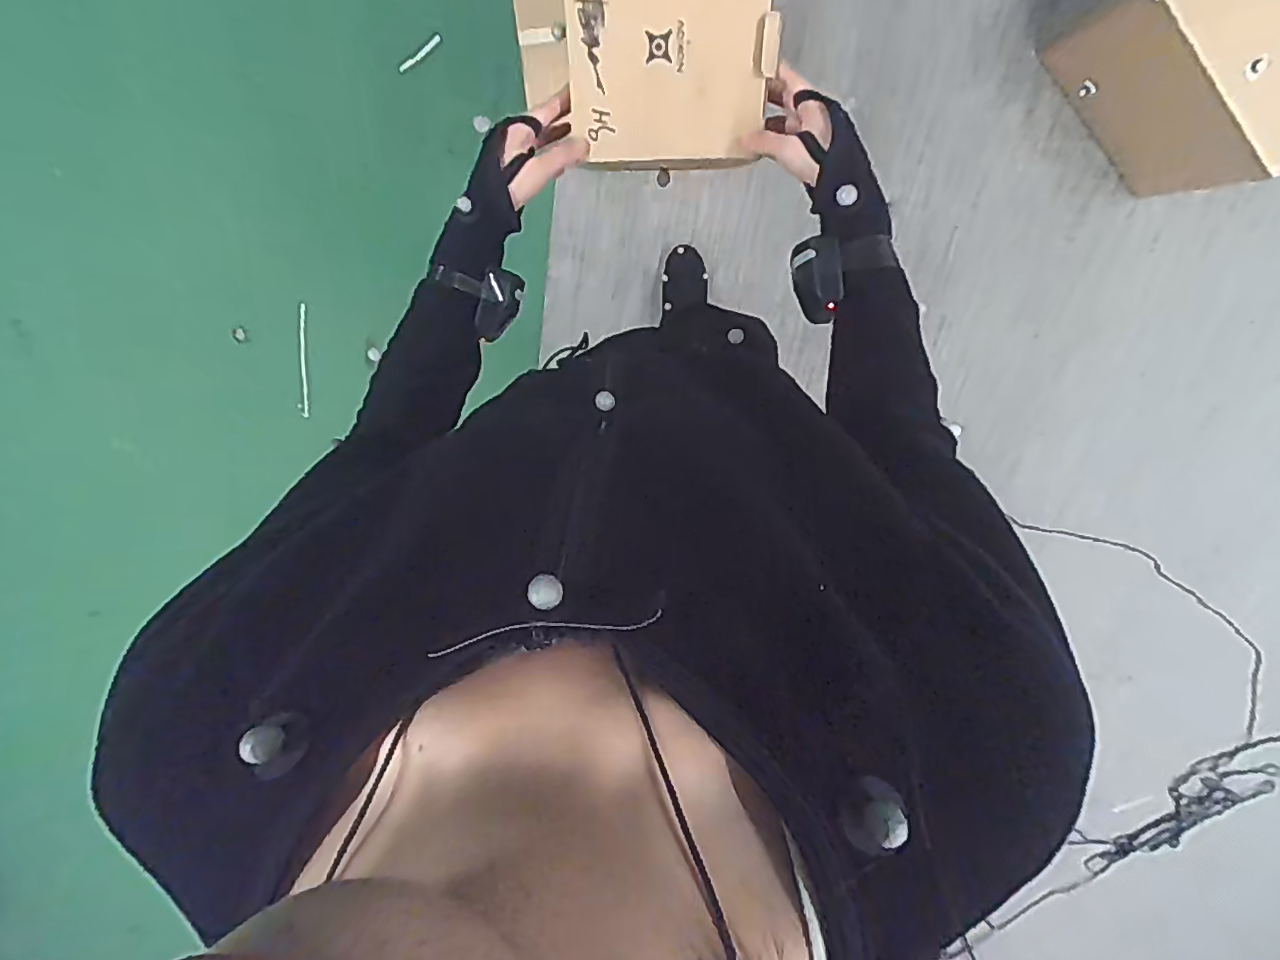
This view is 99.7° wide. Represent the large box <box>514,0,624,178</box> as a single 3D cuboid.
[{"bbox_3d":[-0.005,-0.824,1.091,0.408,0.320,0.320,-2,109,6],"label":"large box"}]

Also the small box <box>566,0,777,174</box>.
[{"bbox_3d":[0.024,-0.400,0.527,0.179,0.176,0.168,-1,115,0],"label":"small box"}]
